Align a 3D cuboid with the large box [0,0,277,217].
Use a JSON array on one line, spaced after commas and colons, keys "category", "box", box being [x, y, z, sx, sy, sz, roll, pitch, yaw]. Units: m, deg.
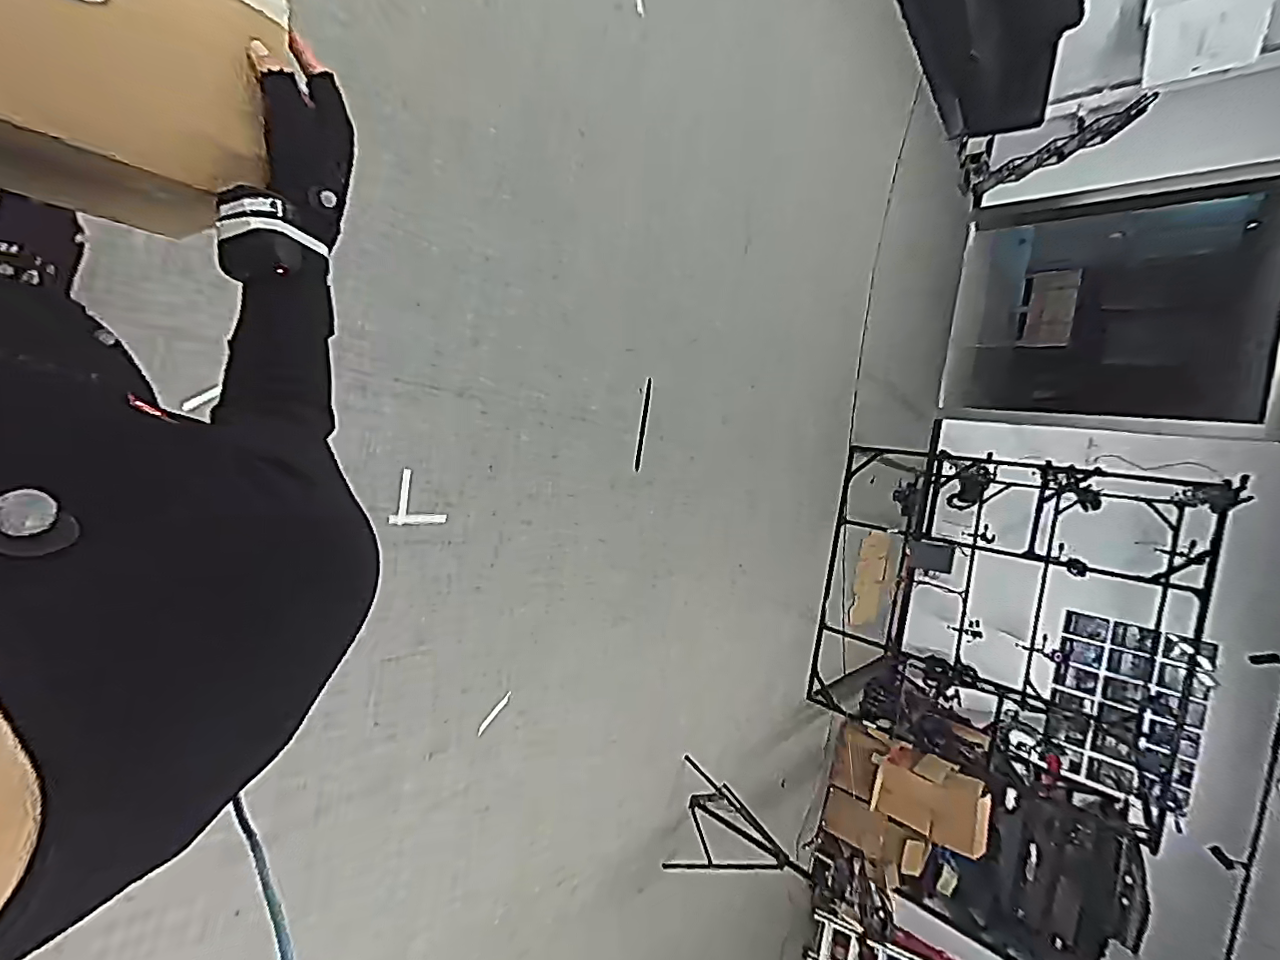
[{"category": "large box", "box": [-0.545, -0.431, 0.387, 0.408, 0.320, 0.320, 1, 102, -53]}]
